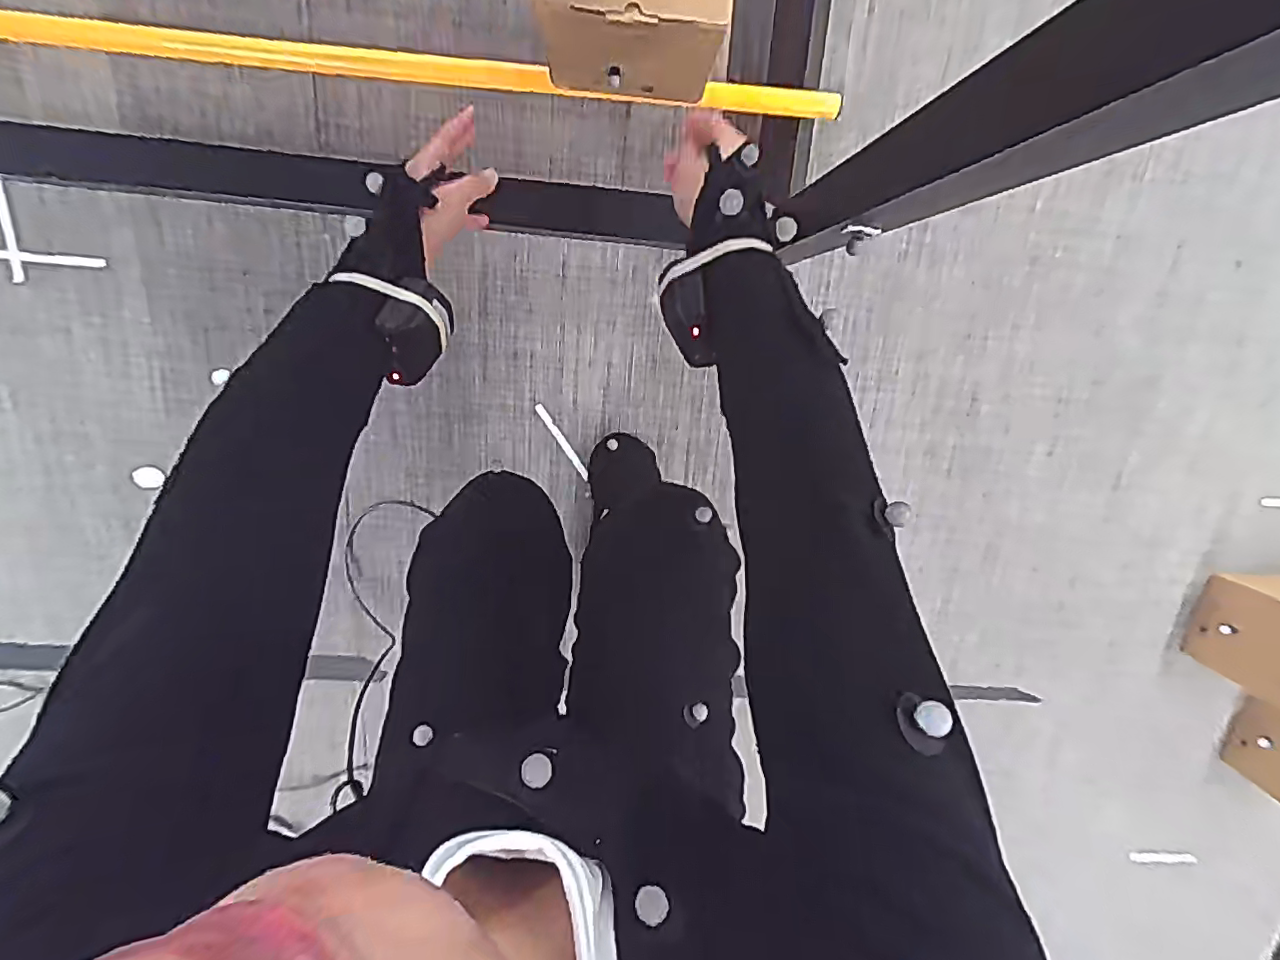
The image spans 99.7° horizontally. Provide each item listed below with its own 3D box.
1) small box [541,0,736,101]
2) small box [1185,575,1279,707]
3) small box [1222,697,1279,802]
[{"bbox_3d":[-0.002,-0.485,0.494,0.168,0.176,0.179,3,107,-4],"label":"small box"},{"bbox_3d":[1.103,0.269,0.911,0.179,0.176,0.168,3,105,-5],"label":"small box"},{"bbox_3d":[1.266,0.518,0.997,0.179,0.176,0.168,6,106,-5],"label":"small box"}]
